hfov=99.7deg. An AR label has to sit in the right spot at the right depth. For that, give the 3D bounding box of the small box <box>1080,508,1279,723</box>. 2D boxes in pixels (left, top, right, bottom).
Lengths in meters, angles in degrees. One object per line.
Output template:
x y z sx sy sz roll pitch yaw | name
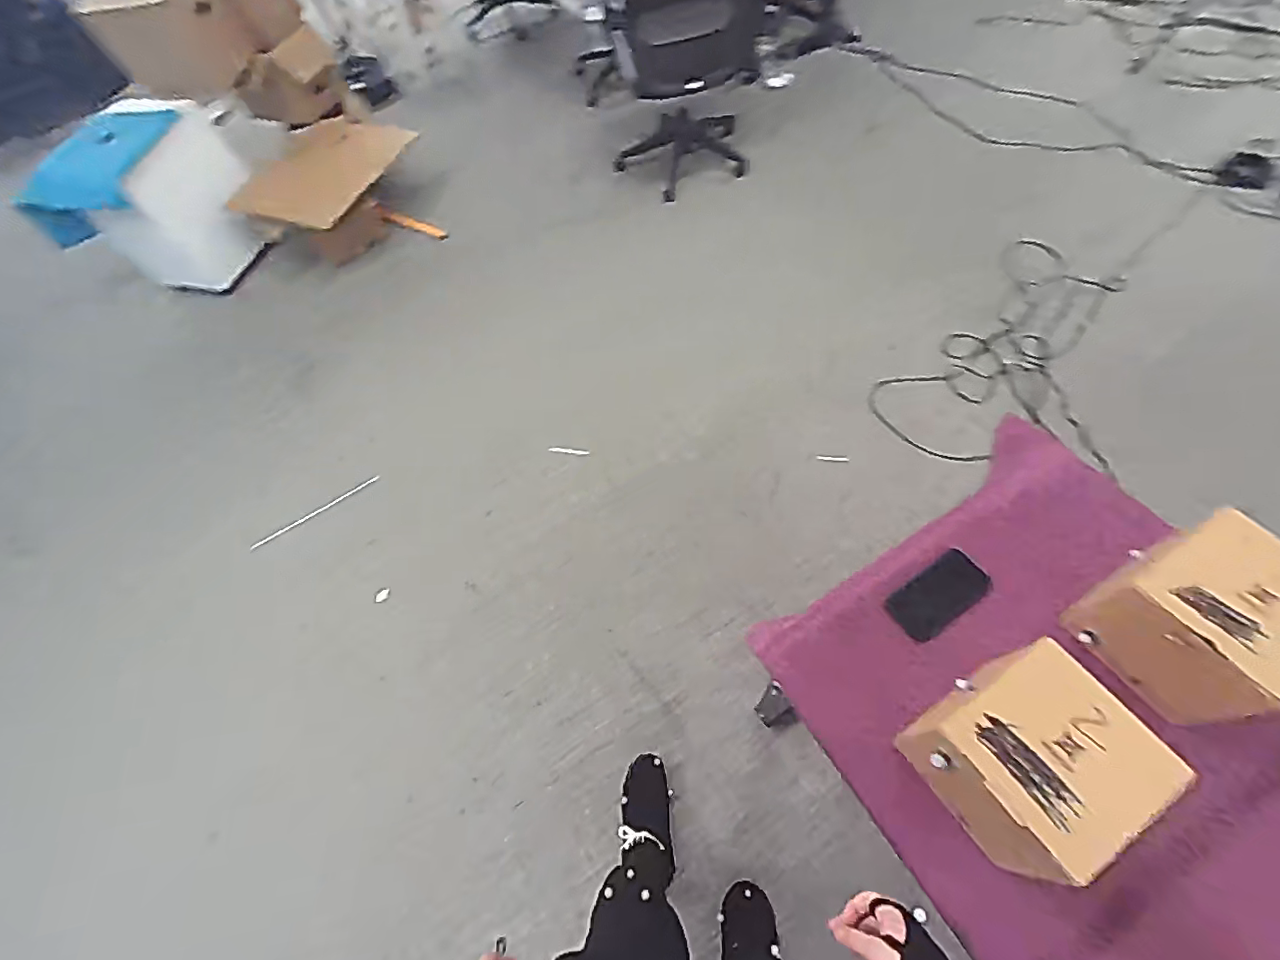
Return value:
0.697 0.173 0.661 0.179 0.176 0.168 -32 61 -10 | small box
